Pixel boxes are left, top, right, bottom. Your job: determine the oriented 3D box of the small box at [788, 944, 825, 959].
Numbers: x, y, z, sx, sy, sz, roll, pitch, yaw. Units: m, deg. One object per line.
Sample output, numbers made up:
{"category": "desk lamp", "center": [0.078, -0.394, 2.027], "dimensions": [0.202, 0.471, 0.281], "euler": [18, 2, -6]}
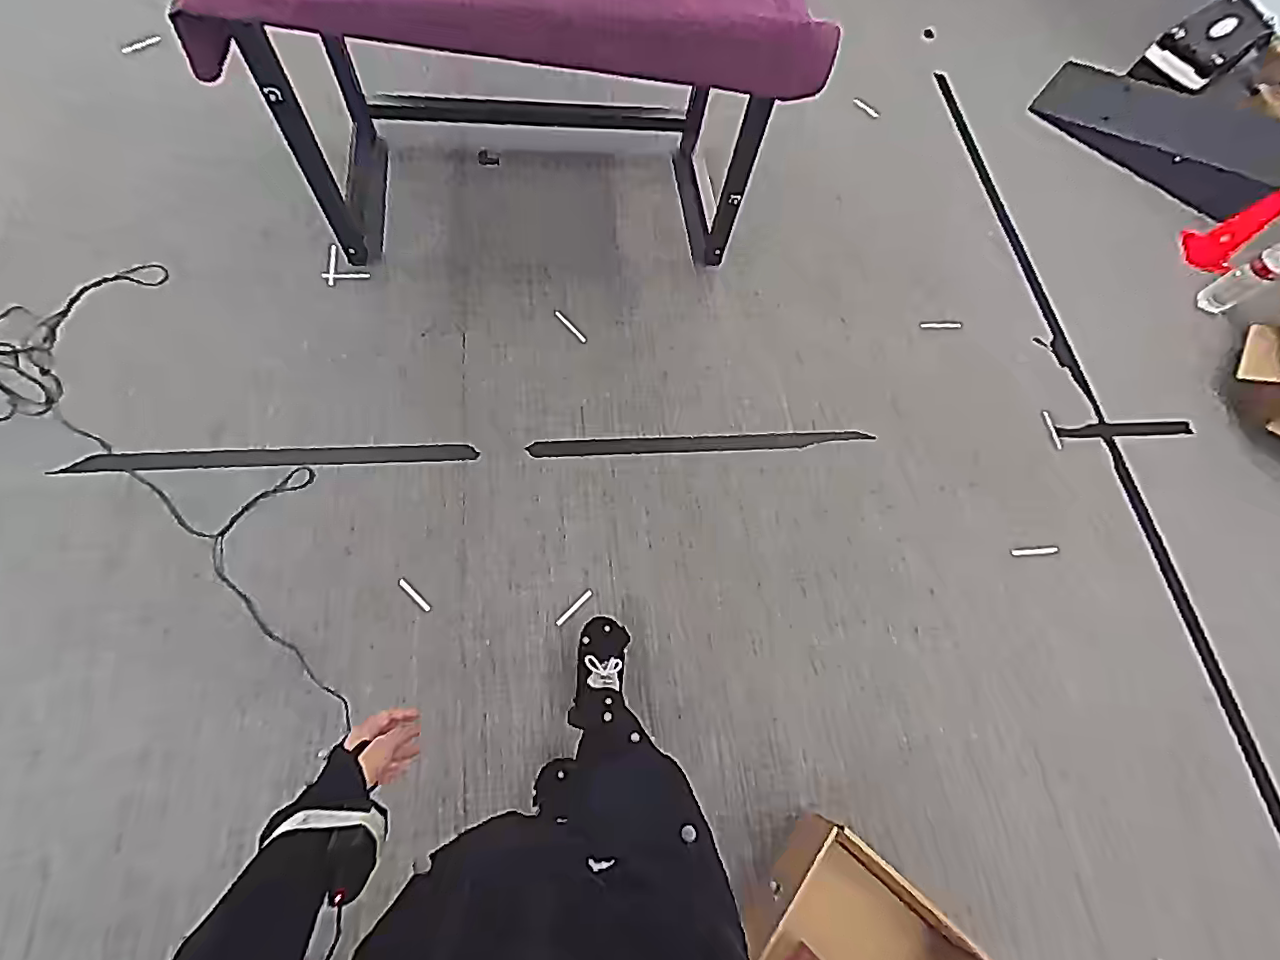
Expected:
{"category": "small box", "center": [0.362, 1.055, 1.034], "dimensions": [0.179, 0.176, 0.168], "euler": [43, 69, 9]}
